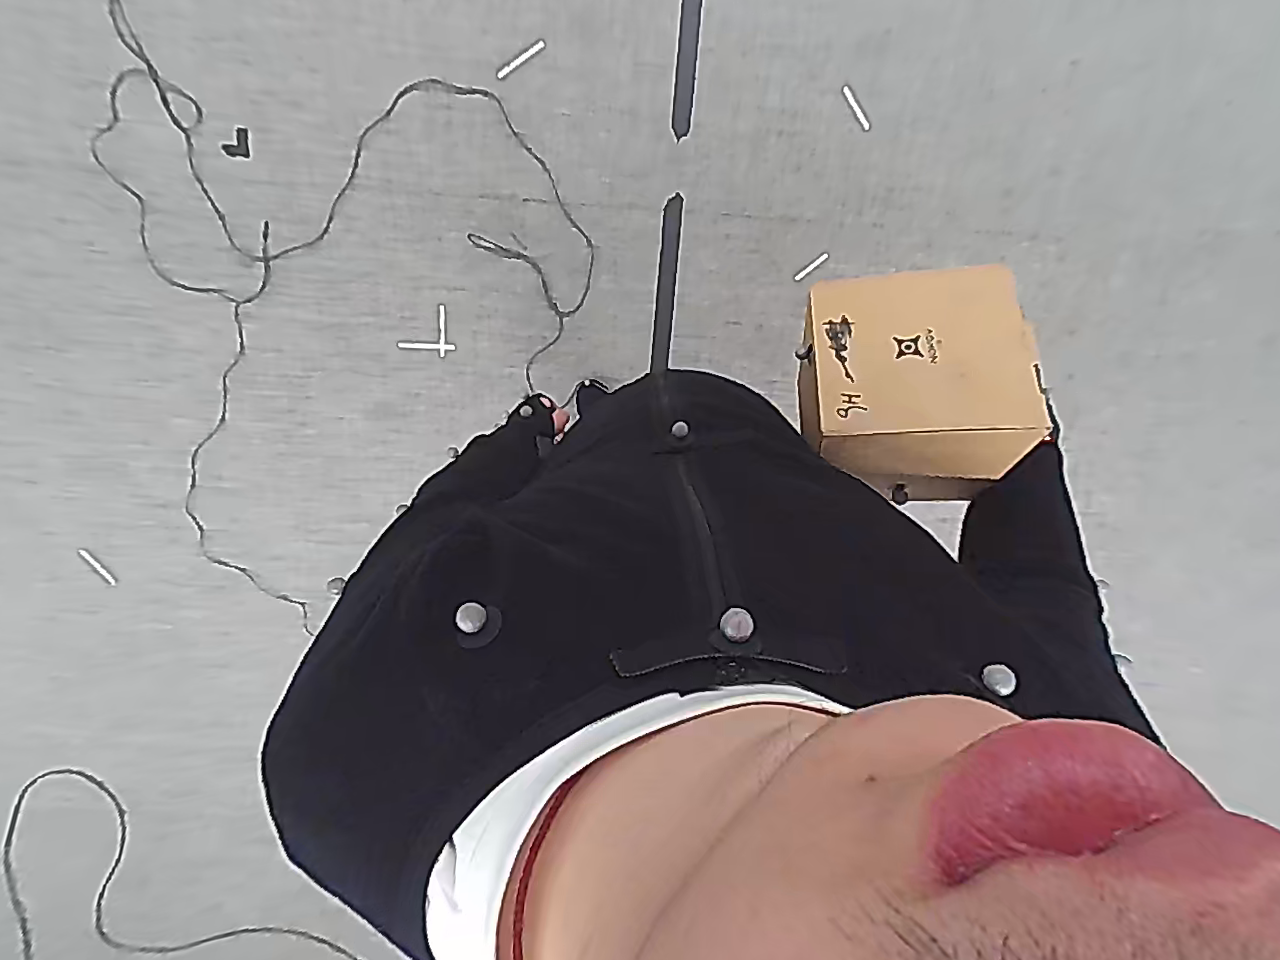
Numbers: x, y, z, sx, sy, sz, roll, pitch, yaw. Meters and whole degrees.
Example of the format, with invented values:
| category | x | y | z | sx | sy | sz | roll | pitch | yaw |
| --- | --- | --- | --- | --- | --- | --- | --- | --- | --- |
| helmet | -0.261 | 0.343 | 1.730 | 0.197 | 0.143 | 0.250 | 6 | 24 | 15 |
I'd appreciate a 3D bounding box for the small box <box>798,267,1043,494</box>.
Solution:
| category | x | y | z | sx | sy | sz | roll | pitch | yaw |
| --- | --- | --- | --- | --- | --- | --- | --- | --- | --- |
| small box | 0.263 | -0.090 | 0.556 | 0.179 | 0.176 | 0.168 | -1 | 68 | 12 |
